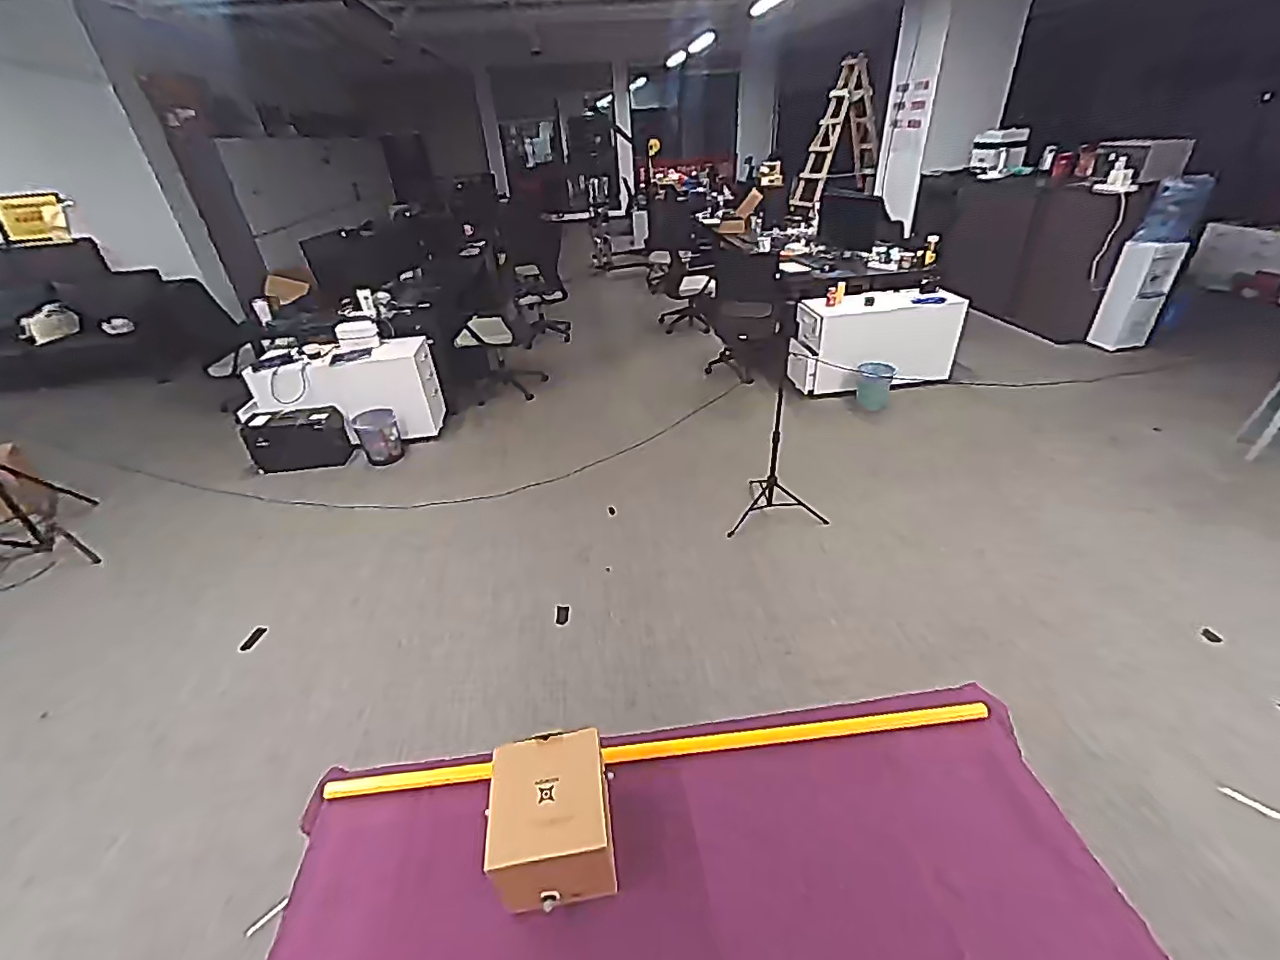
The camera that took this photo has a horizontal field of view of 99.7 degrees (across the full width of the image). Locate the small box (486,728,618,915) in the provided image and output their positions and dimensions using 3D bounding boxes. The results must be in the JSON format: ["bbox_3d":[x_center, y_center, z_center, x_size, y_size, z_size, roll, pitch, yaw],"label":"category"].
[{"bbox_3d":[-0.128,0.517,0.826,0.168,0.176,0.179,-8,34,-5],"label":"small box"}]
